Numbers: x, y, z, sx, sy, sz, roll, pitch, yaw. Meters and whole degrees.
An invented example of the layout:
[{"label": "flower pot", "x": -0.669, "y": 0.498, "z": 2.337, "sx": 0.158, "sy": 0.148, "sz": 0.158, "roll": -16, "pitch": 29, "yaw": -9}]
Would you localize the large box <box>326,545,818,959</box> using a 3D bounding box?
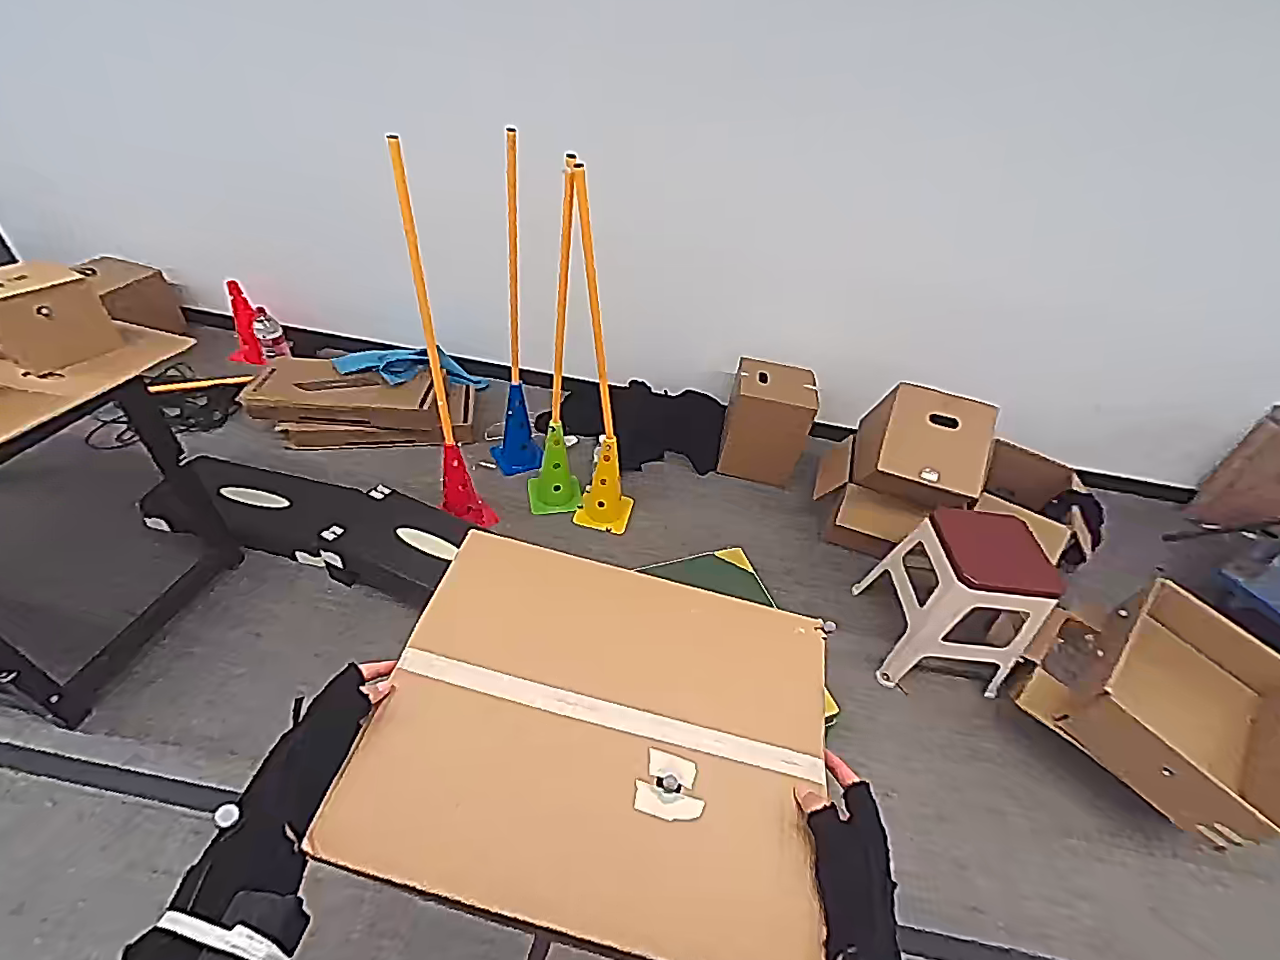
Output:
[{"label": "large box", "x": -0.047, "y": 0.325, "z": 0.625, "sx": 0.408, "sy": 0.320, "sz": 0.320, "roll": 15, "pitch": 49, "yaw": 3}]
